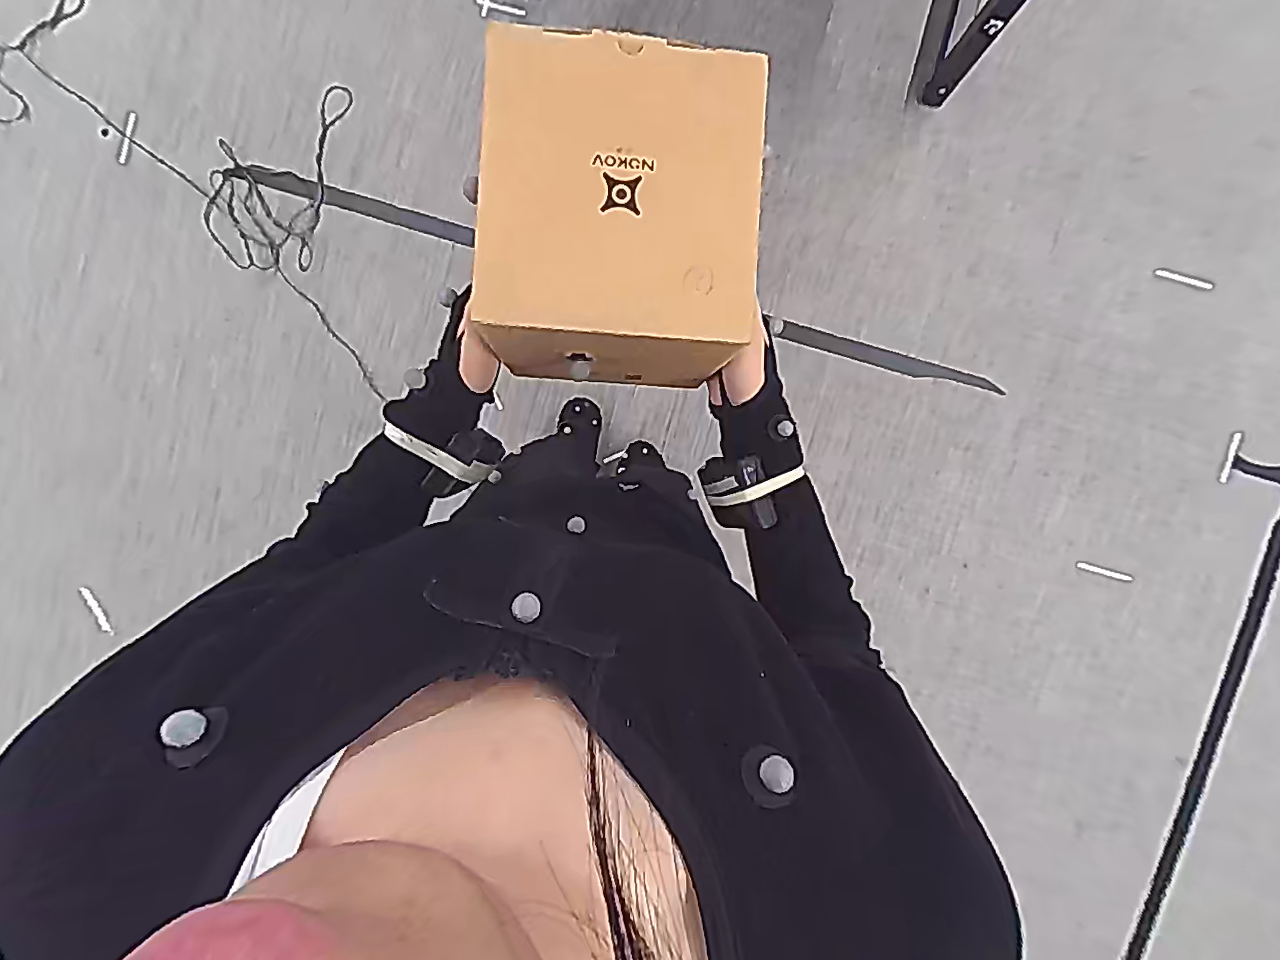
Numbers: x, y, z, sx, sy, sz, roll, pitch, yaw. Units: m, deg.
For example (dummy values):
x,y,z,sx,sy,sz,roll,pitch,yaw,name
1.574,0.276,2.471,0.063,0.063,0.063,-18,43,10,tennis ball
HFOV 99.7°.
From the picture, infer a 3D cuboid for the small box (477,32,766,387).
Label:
x,y,z,sx,sy,sz,roll,pitch,yaw,name
-0.015,-0.171,0.401,0.168,0.176,0.179,3,89,-5,small box
